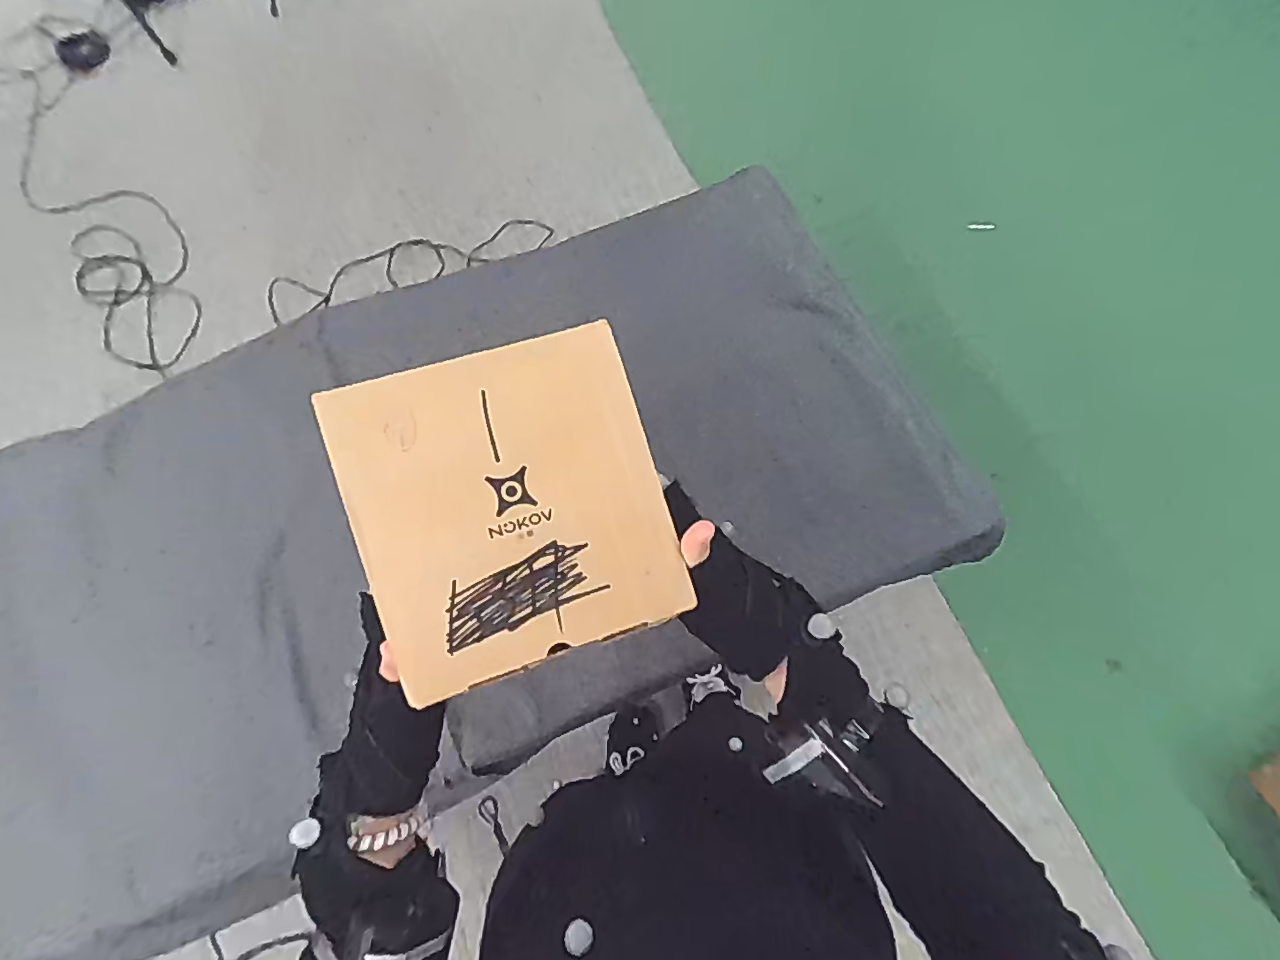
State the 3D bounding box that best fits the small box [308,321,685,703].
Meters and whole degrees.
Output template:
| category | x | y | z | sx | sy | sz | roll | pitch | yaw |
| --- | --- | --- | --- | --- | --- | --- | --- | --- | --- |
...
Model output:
| category | x | y | z | sx | sy | sz | roll | pitch | yaw |
| --- | --- | --- | --- | --- | --- | --- | --- | --- | --- |
| small box | -0.085 | 0.016 | 0.374 | 0.168 | 0.176 | 0.179 | -18 | 91 | -10 |
